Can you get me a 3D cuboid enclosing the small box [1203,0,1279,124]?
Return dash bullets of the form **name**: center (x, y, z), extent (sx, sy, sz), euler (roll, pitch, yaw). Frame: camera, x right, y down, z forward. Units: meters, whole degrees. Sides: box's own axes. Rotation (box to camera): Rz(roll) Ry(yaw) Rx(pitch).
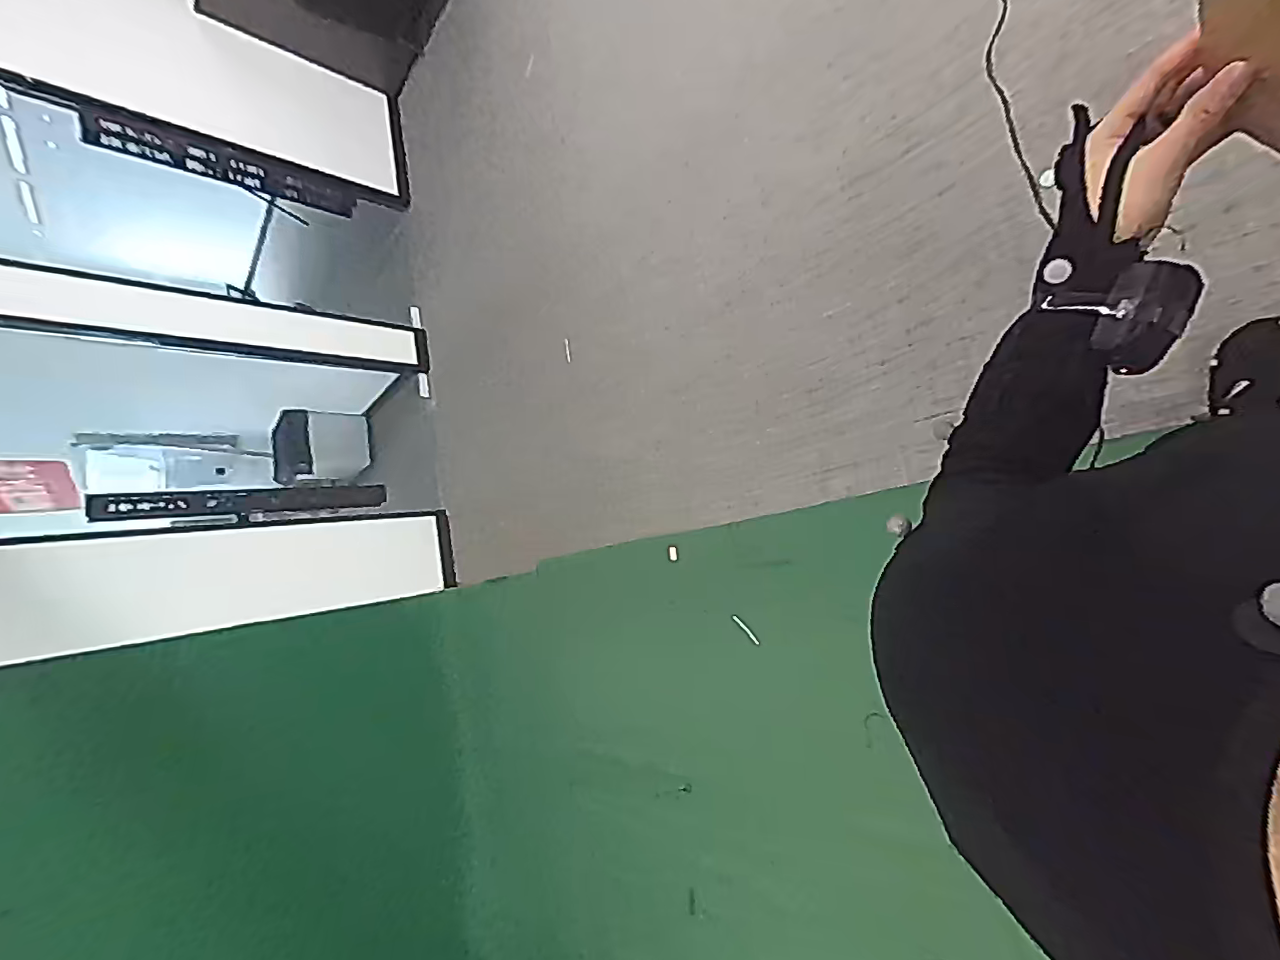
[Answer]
- **small box**: center (0.399, -0.248, 0.225), extent (0.179, 0.176, 0.168), euler (-48, 55, 35)
